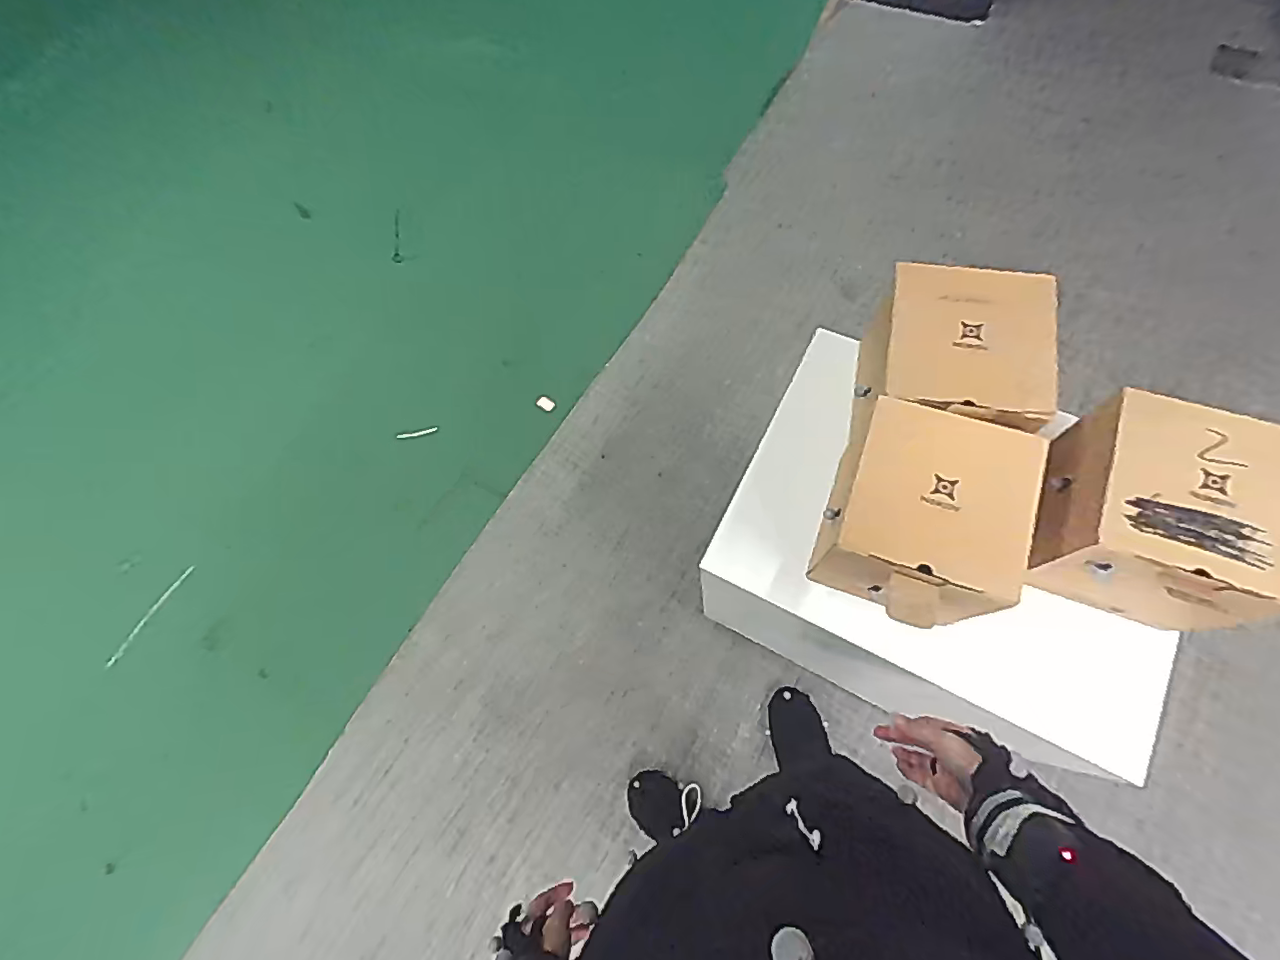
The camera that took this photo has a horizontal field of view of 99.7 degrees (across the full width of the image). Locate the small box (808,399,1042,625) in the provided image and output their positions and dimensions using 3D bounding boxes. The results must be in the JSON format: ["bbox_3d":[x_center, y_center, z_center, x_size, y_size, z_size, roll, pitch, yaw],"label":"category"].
[{"bbox_3d":[0.297,0.043,0.596,0.168,0.176,0.179,18,72,13],"label":"small box"}]
